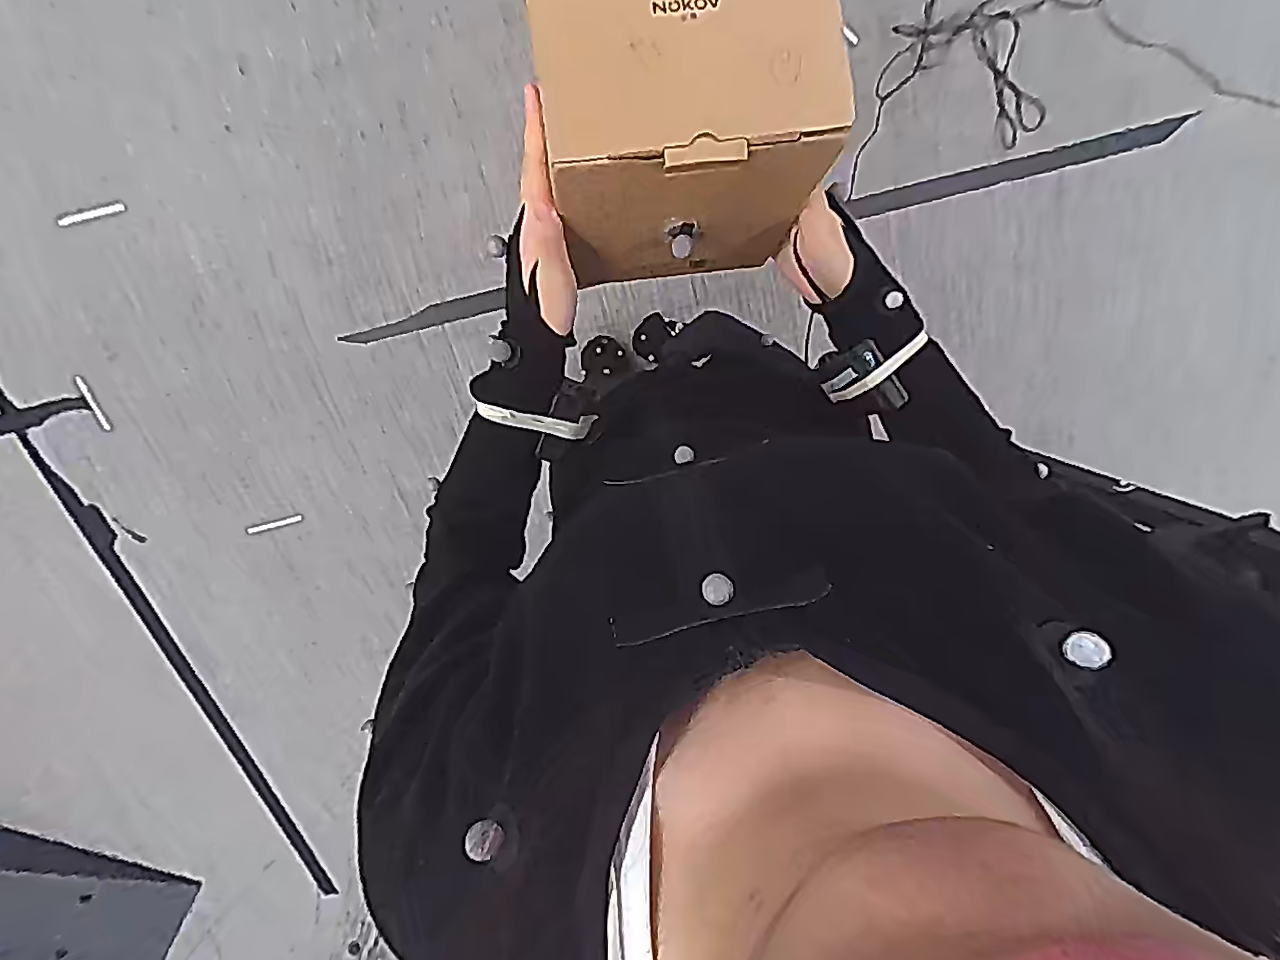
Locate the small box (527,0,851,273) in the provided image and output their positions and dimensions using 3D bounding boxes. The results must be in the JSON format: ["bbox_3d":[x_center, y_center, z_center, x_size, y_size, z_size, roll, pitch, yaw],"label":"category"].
[{"bbox_3d":[0.018,-0.255,0.365,0.168,0.176,0.179,-8,89,-4],"label":"small box"}]
